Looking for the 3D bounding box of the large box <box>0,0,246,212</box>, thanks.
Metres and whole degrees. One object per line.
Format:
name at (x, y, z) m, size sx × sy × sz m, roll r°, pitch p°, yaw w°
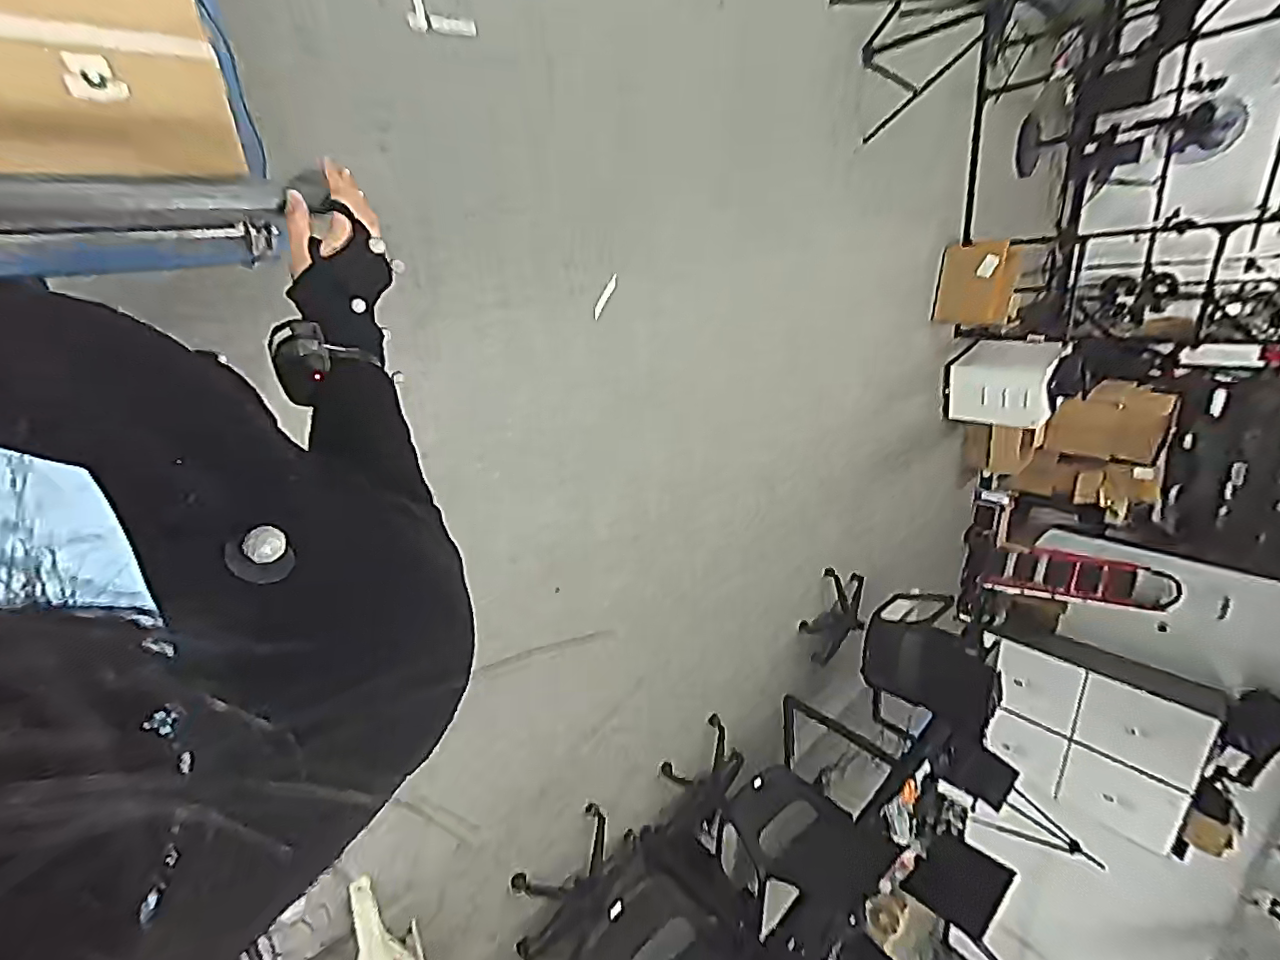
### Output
large box at (-0.841, -0.556, 0.731) m, size 0.408 × 0.320 × 0.320 m, roll -23°, pitch 118°, yaw -37°
